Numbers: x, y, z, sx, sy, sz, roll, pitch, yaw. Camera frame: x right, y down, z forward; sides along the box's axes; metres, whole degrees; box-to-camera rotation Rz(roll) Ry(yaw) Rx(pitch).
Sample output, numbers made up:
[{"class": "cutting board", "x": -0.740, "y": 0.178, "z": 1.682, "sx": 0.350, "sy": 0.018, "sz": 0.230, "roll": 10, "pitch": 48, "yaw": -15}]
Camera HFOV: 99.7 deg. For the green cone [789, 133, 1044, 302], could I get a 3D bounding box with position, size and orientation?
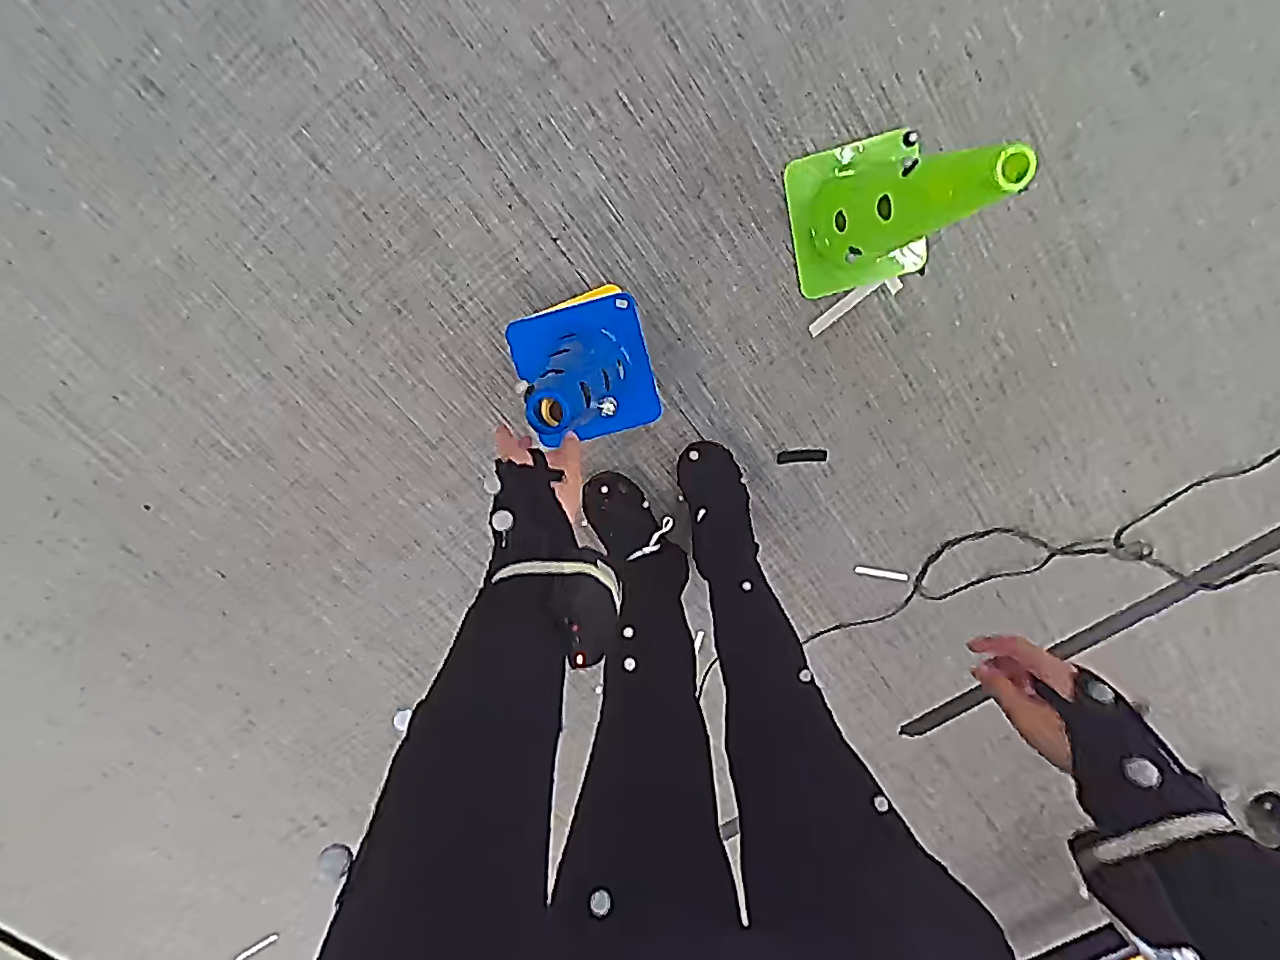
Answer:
[{"class": "green cone", "x": 0.337, "y": -0.333, "z": 0.656, "sx": 0.200, "sy": 0.368, "sz": 0.202, "roll": -15, "pitch": 110, "yaw": 4}]
